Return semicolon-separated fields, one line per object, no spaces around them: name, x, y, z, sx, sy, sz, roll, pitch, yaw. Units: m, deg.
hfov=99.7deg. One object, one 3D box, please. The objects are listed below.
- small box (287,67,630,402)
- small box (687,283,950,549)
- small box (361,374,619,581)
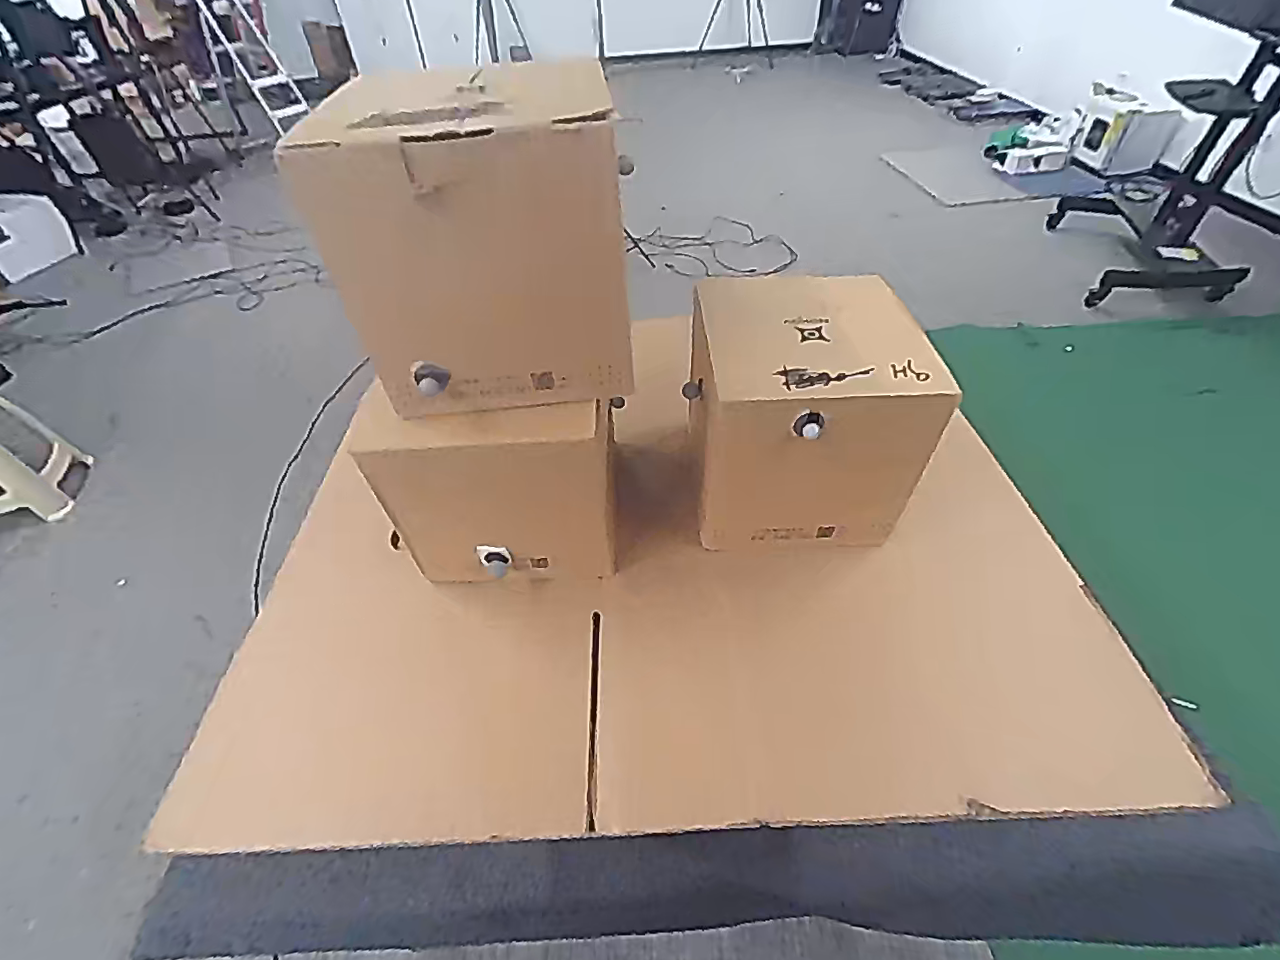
small box;-0.098;-0.168;0.384;0.168;0.176;0.179;-6;45;-1
small box;0.132;-0.058;0.484;0.168;0.176;0.179;-1;46;1
small box;-0.108;-0.030;0.481;0.168;0.176;0.179;-3;48;1
